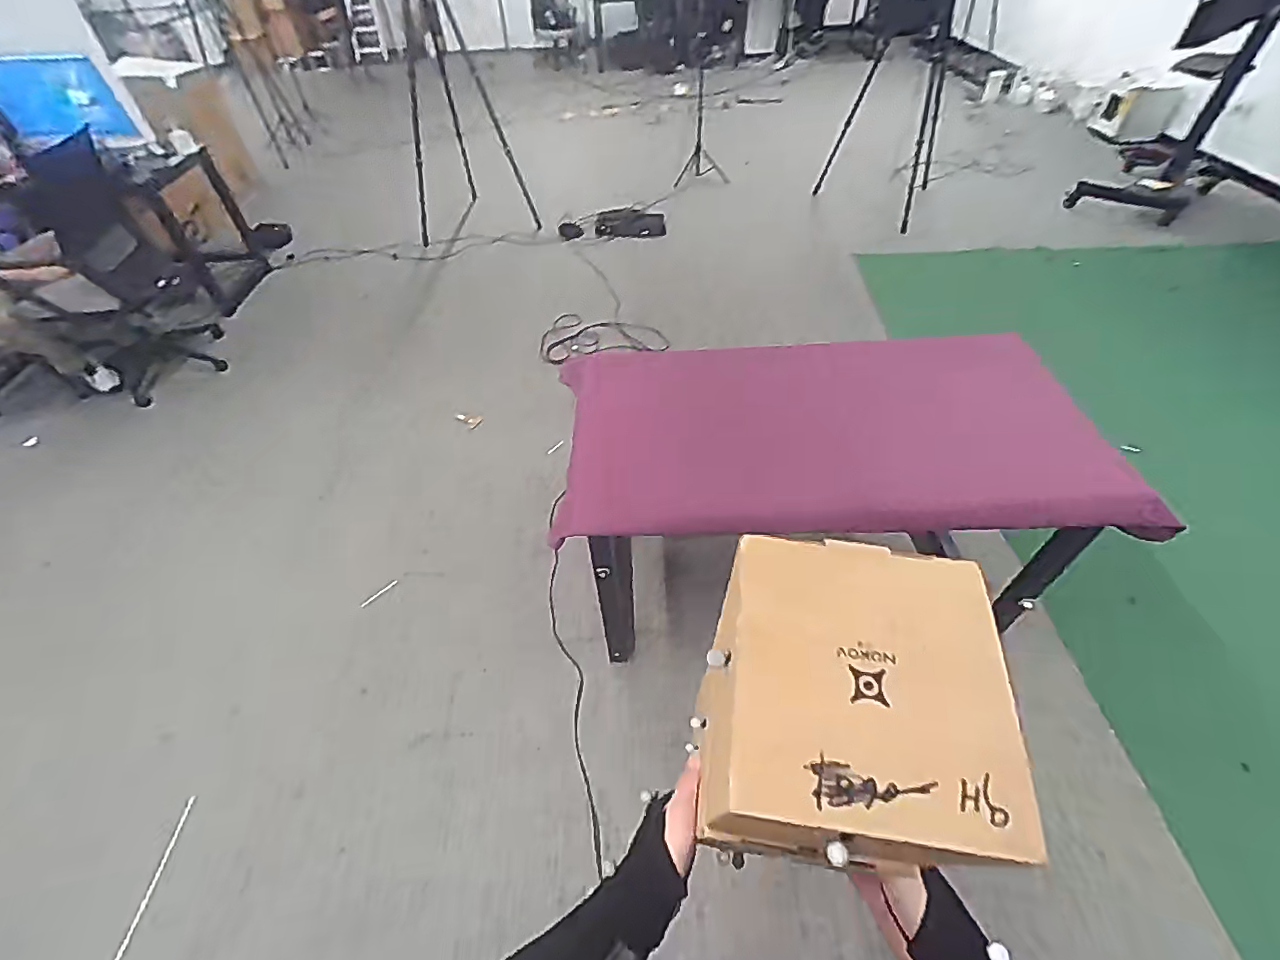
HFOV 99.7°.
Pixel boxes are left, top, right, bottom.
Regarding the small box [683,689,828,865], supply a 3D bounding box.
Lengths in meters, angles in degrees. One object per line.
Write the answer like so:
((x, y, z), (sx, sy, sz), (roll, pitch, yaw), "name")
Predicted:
((0.143, 0.353, 0.665), (0.168, 0.176, 0.179), (6, 56, 7), "small box")

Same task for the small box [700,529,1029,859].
((0.135, 0.160, 0.400), (0.168, 0.176, 0.179), (6, 54, 7), "small box")

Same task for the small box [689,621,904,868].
((0.138, 0.260, 0.529), (0.168, 0.176, 0.179), (6, 54, 7), "small box")
